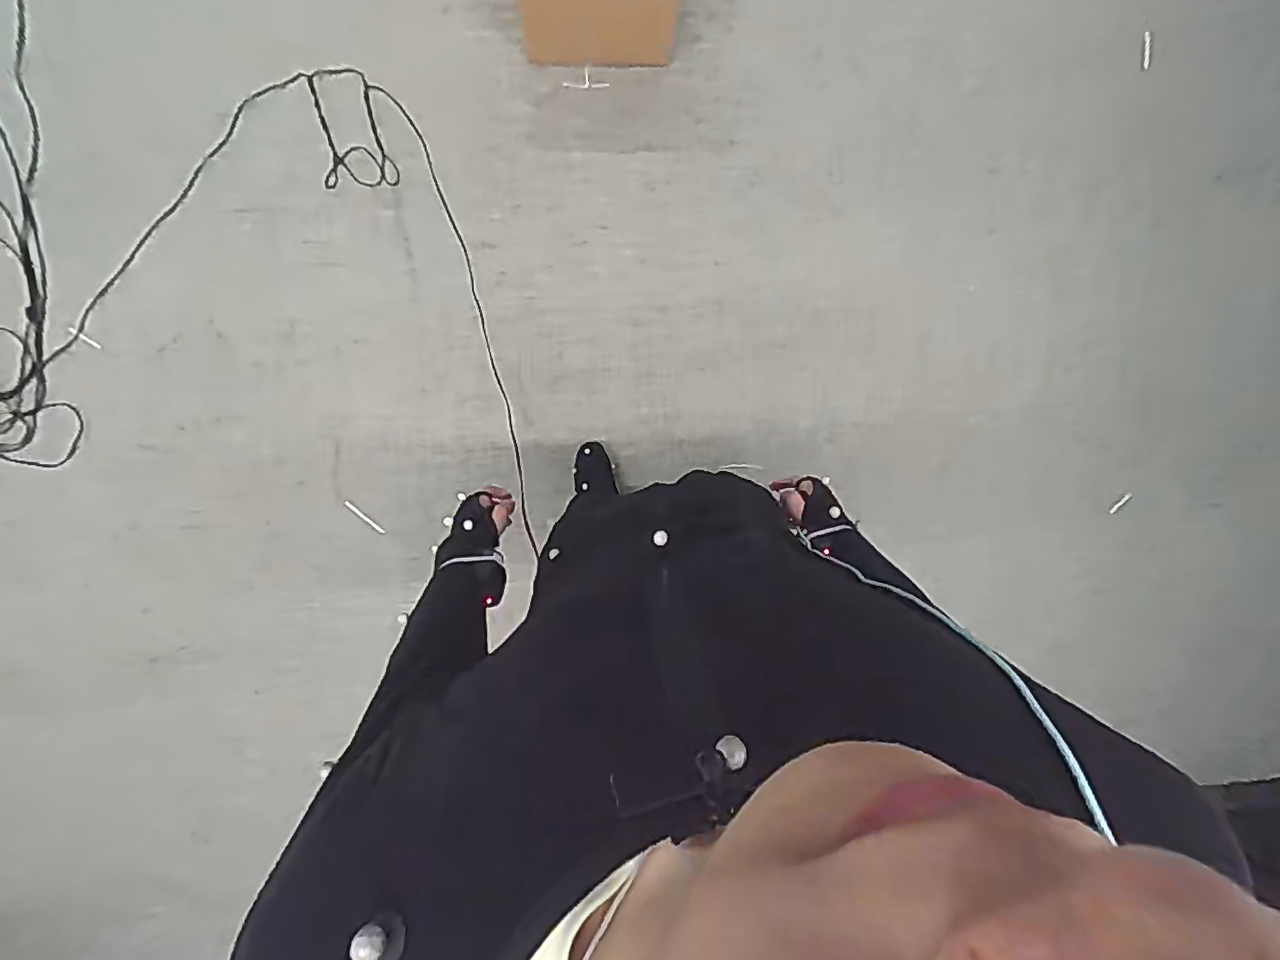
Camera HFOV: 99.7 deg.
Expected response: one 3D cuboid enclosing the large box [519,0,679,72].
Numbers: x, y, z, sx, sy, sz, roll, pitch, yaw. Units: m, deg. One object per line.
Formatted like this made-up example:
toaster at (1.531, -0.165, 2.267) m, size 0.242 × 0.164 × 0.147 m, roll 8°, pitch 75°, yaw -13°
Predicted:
large box at (-0.120, -1.334, 1.414) m, size 0.408 × 0.320 × 0.320 m, roll -5°, pitch 94°, yaw -5°
